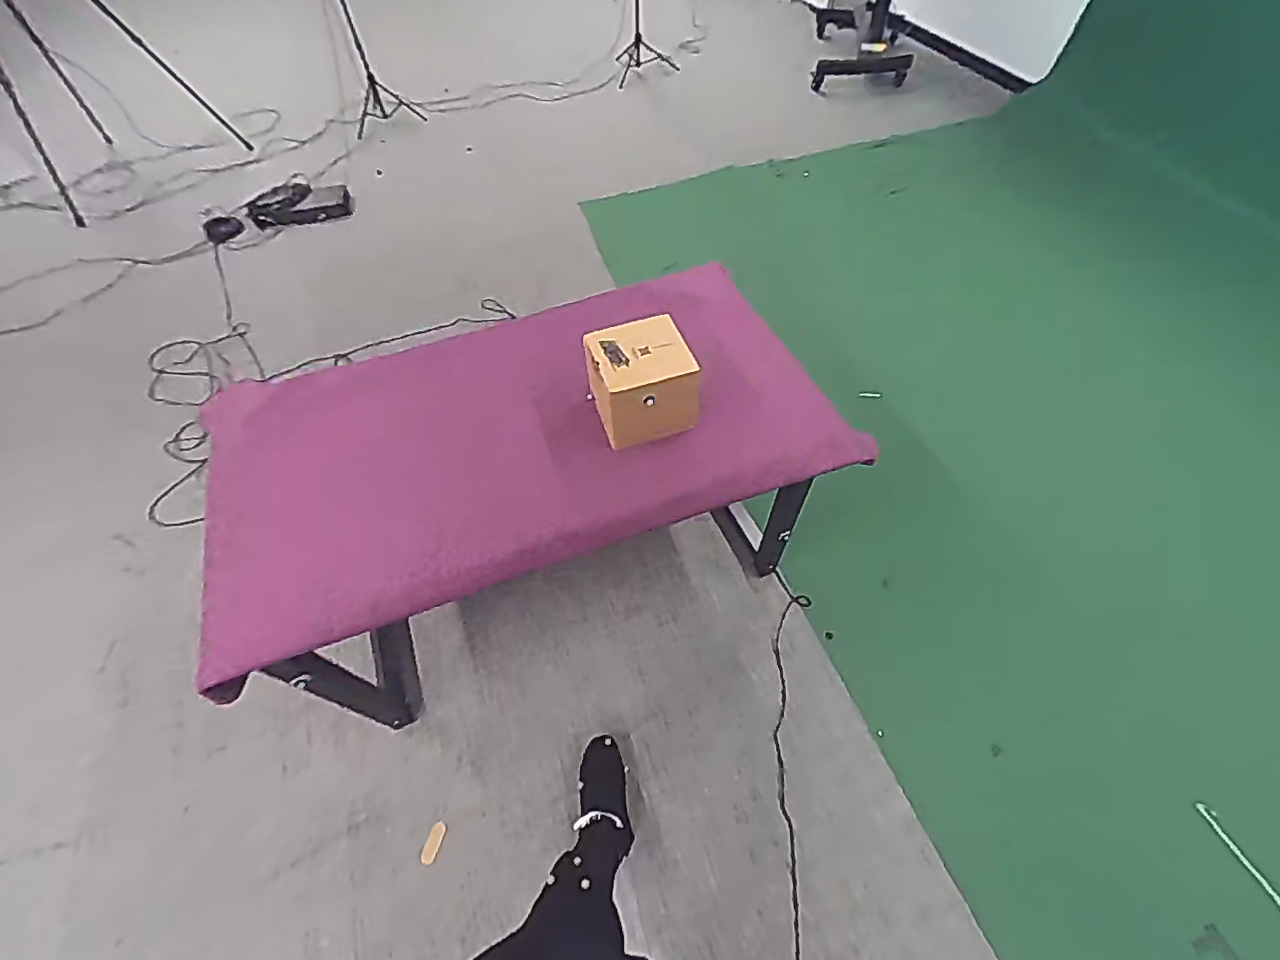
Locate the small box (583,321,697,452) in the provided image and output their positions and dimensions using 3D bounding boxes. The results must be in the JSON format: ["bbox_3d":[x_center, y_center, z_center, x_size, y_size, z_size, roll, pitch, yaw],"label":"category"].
[{"bbox_3d":[0.000,-0.178,1.064,0.179,0.176,0.168,-17,57,-10],"label":"small box"}]
